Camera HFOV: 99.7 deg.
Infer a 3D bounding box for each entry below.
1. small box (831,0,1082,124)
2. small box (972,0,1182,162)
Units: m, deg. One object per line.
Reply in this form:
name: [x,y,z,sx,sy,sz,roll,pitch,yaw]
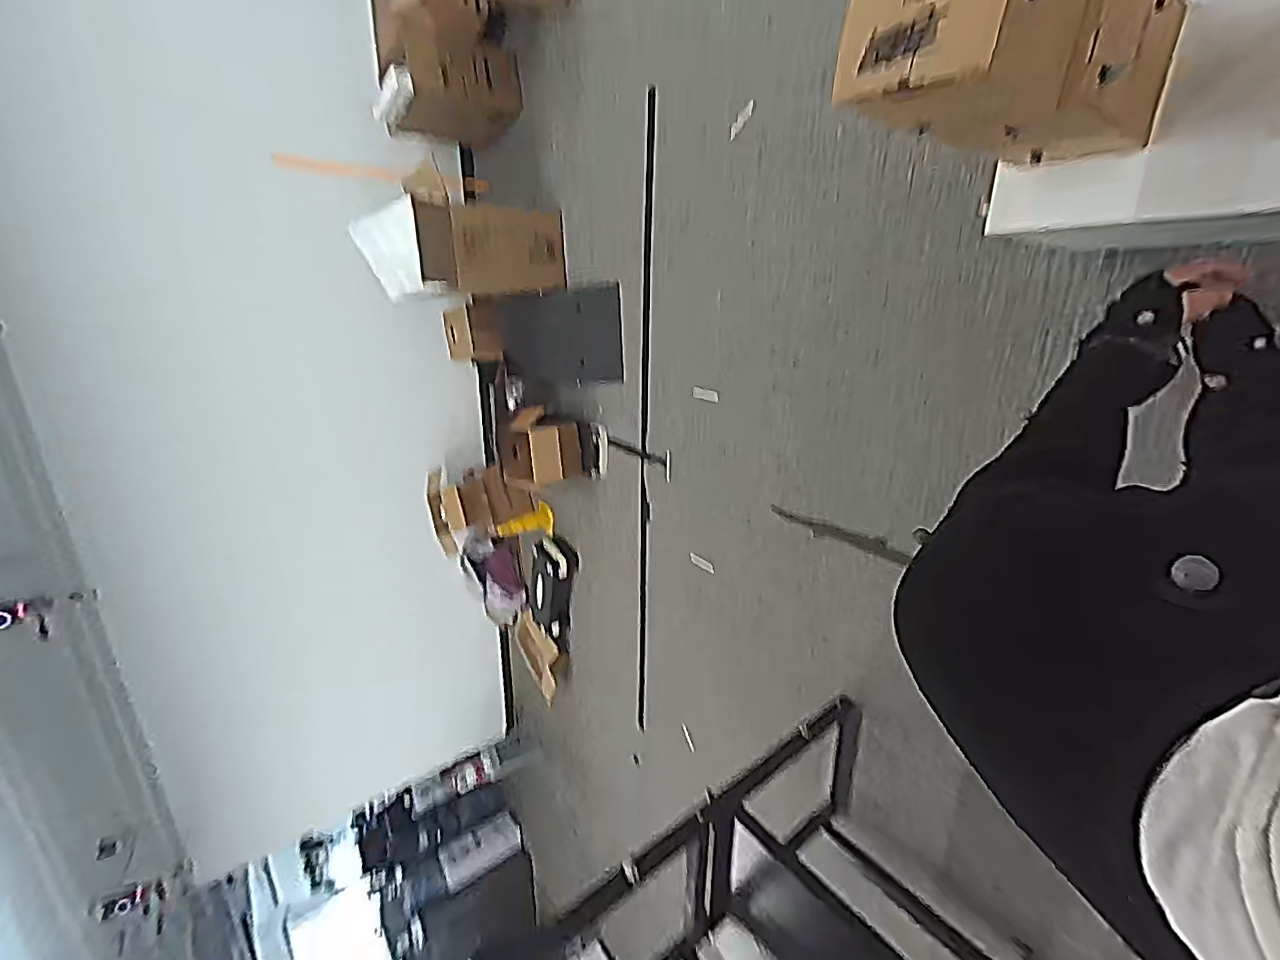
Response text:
small box: [0.326,-0.481,0.549,0.168,0.176,0.179,28,122,46]
small box: [0.590,-0.547,0.734,0.168,0.176,0.179,24,119,47]
